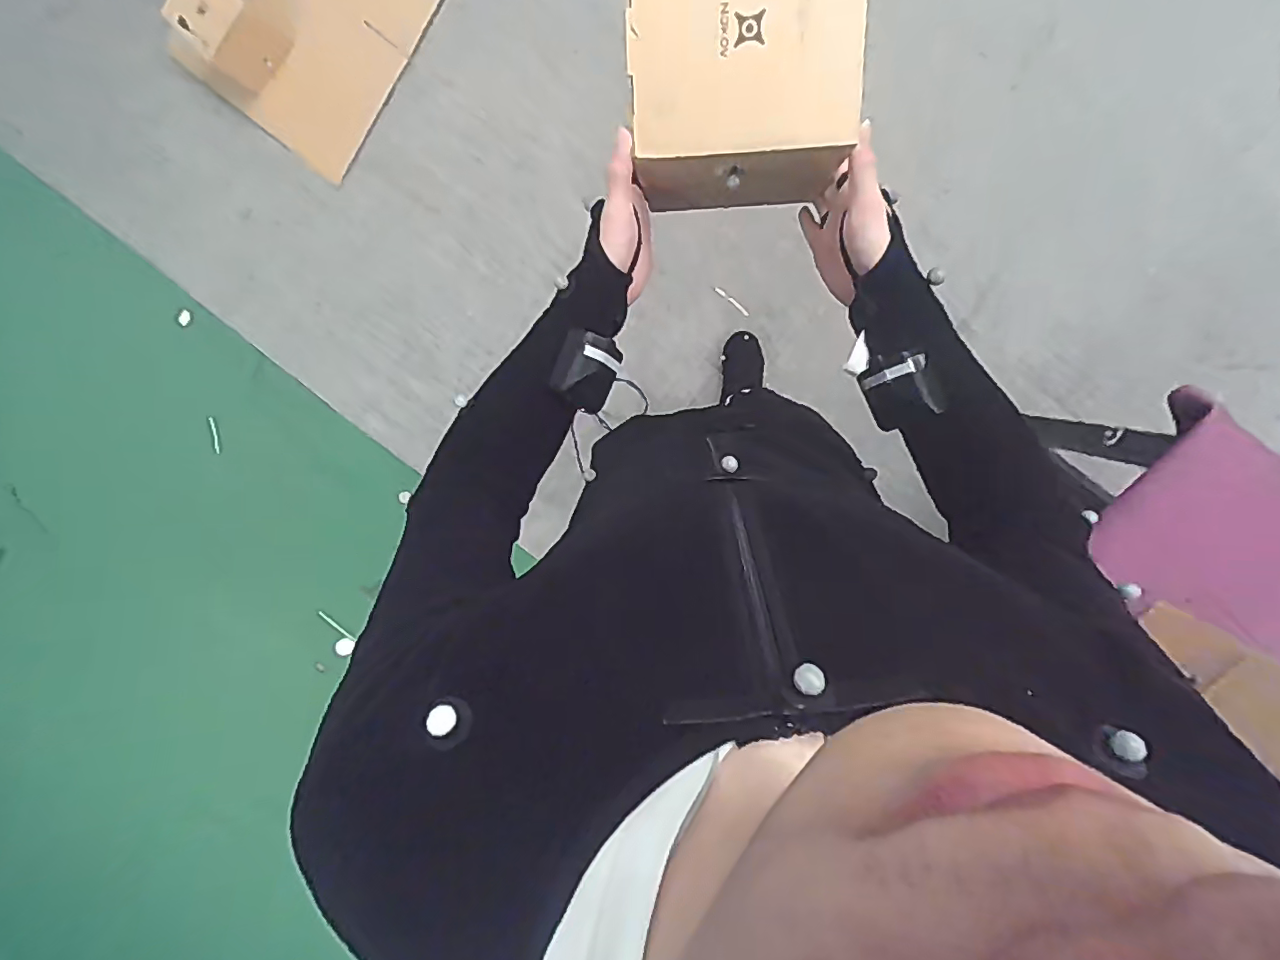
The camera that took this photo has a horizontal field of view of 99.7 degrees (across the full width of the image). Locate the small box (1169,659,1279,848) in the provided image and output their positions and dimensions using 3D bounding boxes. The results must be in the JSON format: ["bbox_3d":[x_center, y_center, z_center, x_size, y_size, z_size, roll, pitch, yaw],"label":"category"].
[{"bbox_3d":[0.808,0.357,0.648,0.168,0.176,0.179,37,102,-2],"label":"small box"}]

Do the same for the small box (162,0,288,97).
[{"bbox_3d":[-1.078,-1.174,1.427,0.179,0.176,0.168,-43,94,11],"label":"small box"}]

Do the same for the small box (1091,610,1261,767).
[{"bbox_3d":[0.838,0.332,0.809,0.168,0.176,0.179,35,102,-1],"label":"small box"}]

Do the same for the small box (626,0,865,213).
[{"bbox_3d":[0.086,-0.348,0.481,0.179,0.176,0.168,0,103,6],"label":"small box"}]
